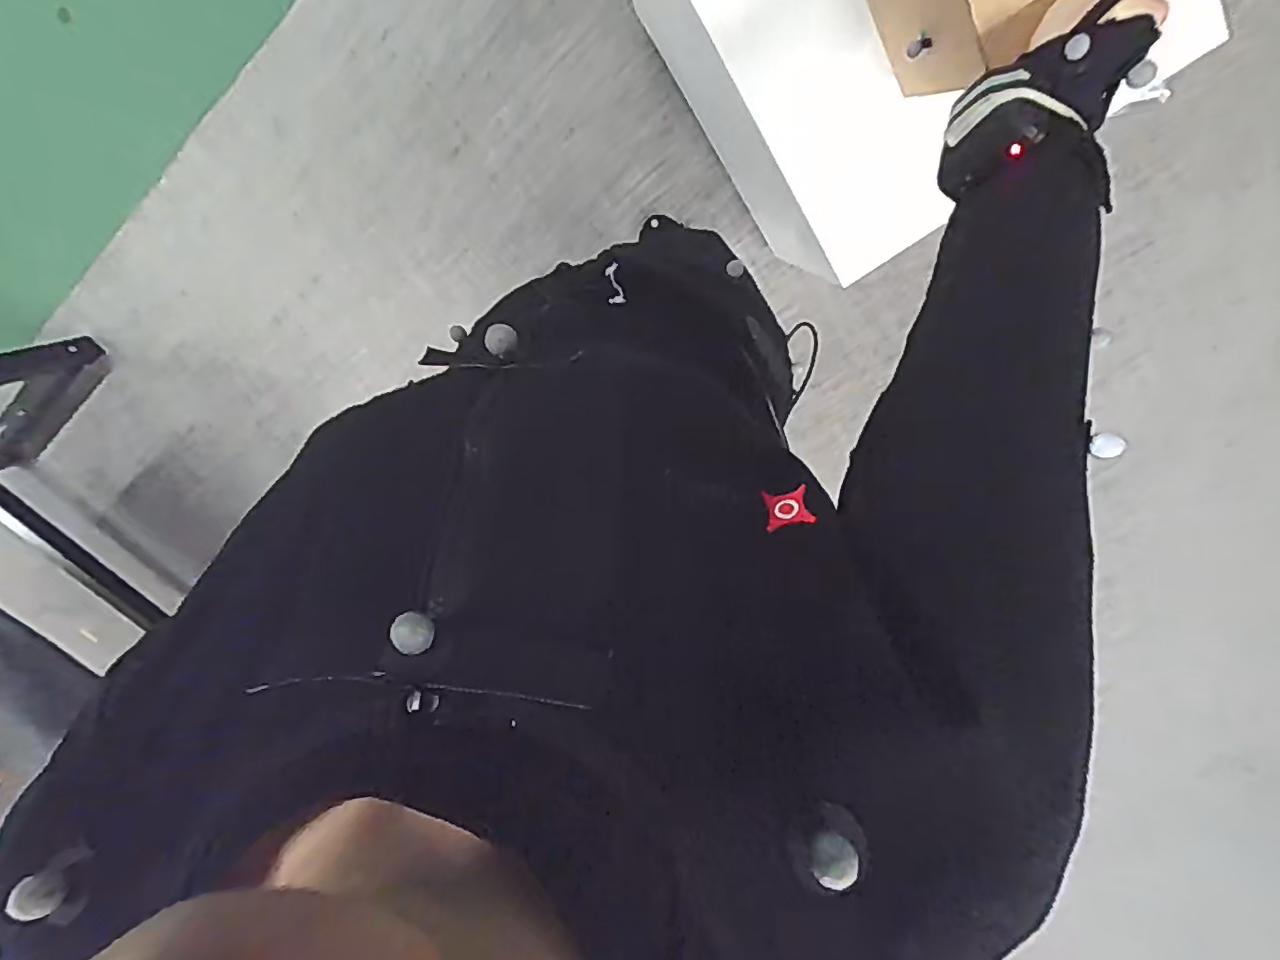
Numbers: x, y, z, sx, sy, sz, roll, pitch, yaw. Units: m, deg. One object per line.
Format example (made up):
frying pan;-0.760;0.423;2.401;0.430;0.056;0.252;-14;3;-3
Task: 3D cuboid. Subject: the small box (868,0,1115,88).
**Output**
small box;0.272;-0.425;0.395;0.168;0.176;0.179;-32;115;19
